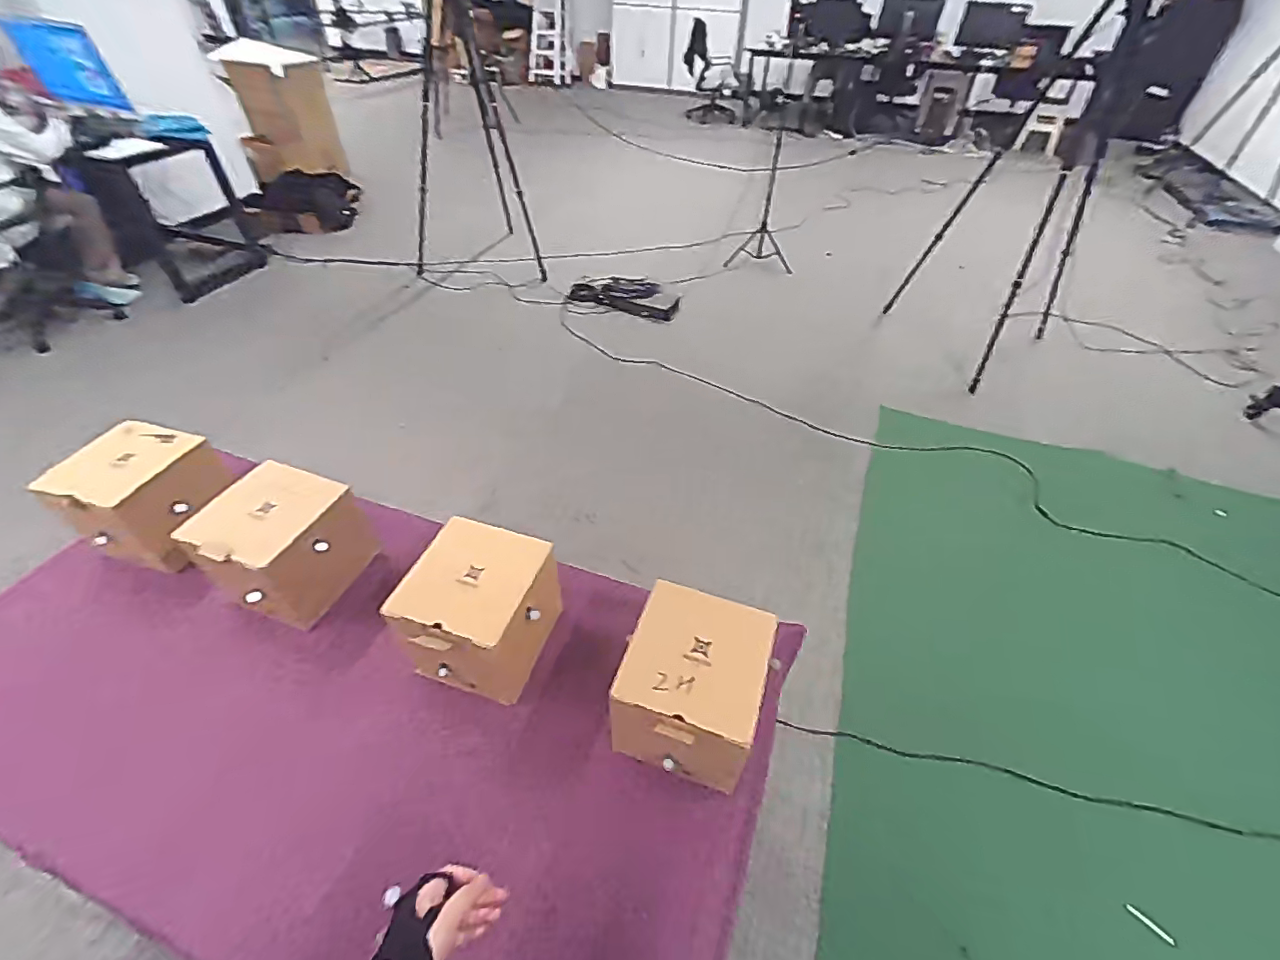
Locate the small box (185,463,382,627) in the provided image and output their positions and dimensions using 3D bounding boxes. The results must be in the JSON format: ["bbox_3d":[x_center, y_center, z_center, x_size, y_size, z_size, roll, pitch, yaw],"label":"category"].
[{"bbox_3d":[-0.552,0.106,0.869,0.168,0.176,0.179,16,47,14],"label":"small box"}]

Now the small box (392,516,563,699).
[{"bbox_3d":[-0.220,0.186,0.792,0.168,0.176,0.179,13,47,13],"label":"small box"}]

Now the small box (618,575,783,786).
[{"bbox_3d":[0.078,0.262,0.711,0.168,0.176,0.179,14,47,15],"label":"small box"}]

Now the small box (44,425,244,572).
[{"bbox_3d":[-0.827,0.034,0.937,0.168,0.176,0.179,12,47,10],"label":"small box"}]
